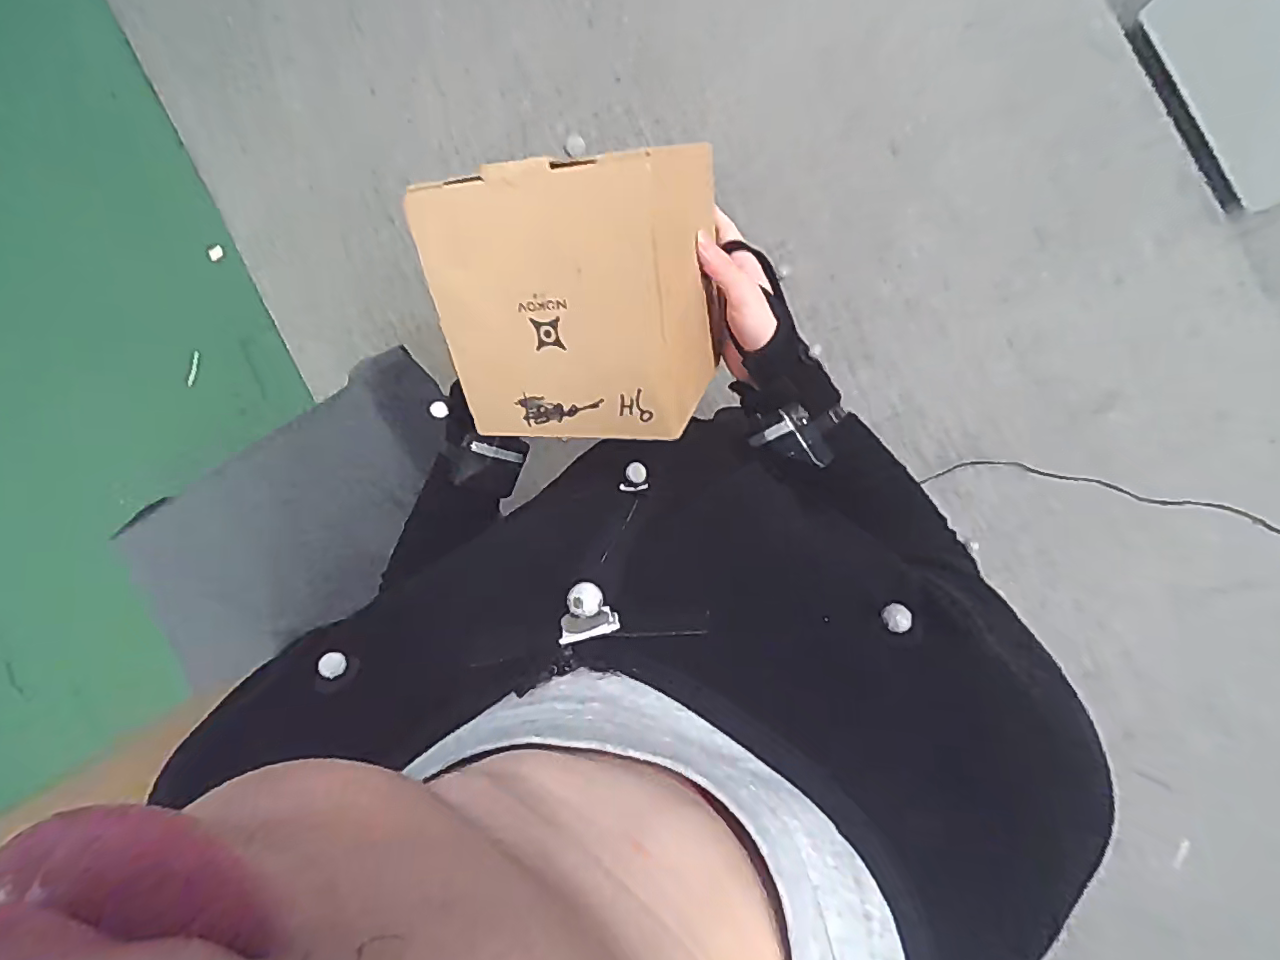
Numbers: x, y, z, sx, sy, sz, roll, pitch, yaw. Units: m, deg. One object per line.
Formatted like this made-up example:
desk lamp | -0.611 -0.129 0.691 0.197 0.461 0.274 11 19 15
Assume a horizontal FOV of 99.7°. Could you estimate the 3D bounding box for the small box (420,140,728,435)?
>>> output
small box | -0.028 -0.150 0.420 0.168 0.176 0.179 3 122 19
